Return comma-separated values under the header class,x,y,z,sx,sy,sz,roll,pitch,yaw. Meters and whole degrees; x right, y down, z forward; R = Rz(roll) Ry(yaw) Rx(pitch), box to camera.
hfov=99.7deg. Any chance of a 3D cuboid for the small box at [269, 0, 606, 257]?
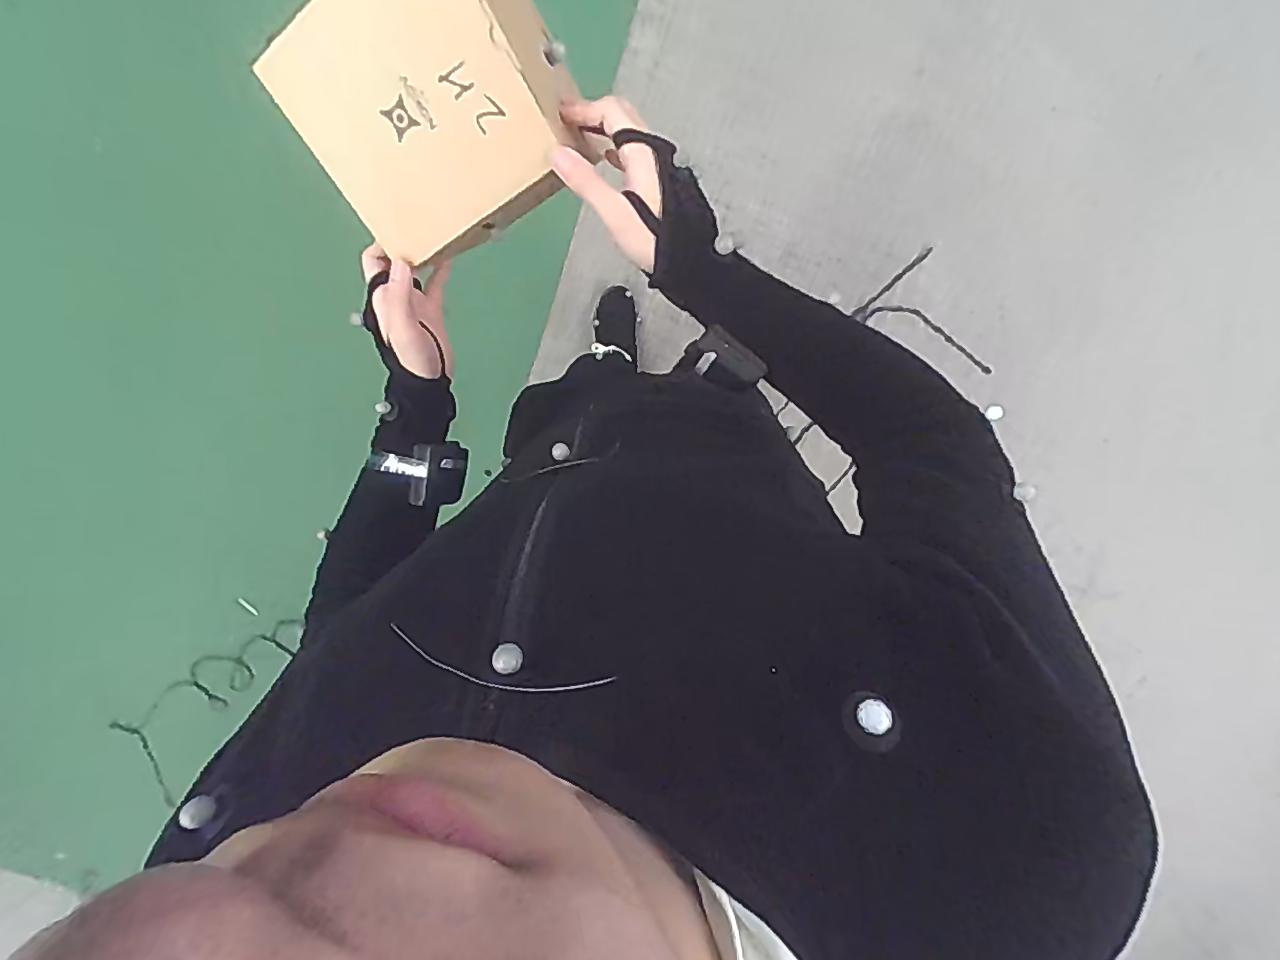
class,x,y,z,sx,sy,sz,roll,pitch,yaw
small box,-0.151,-0.319,0.465,0.179,0.176,0.168,-22,115,20
